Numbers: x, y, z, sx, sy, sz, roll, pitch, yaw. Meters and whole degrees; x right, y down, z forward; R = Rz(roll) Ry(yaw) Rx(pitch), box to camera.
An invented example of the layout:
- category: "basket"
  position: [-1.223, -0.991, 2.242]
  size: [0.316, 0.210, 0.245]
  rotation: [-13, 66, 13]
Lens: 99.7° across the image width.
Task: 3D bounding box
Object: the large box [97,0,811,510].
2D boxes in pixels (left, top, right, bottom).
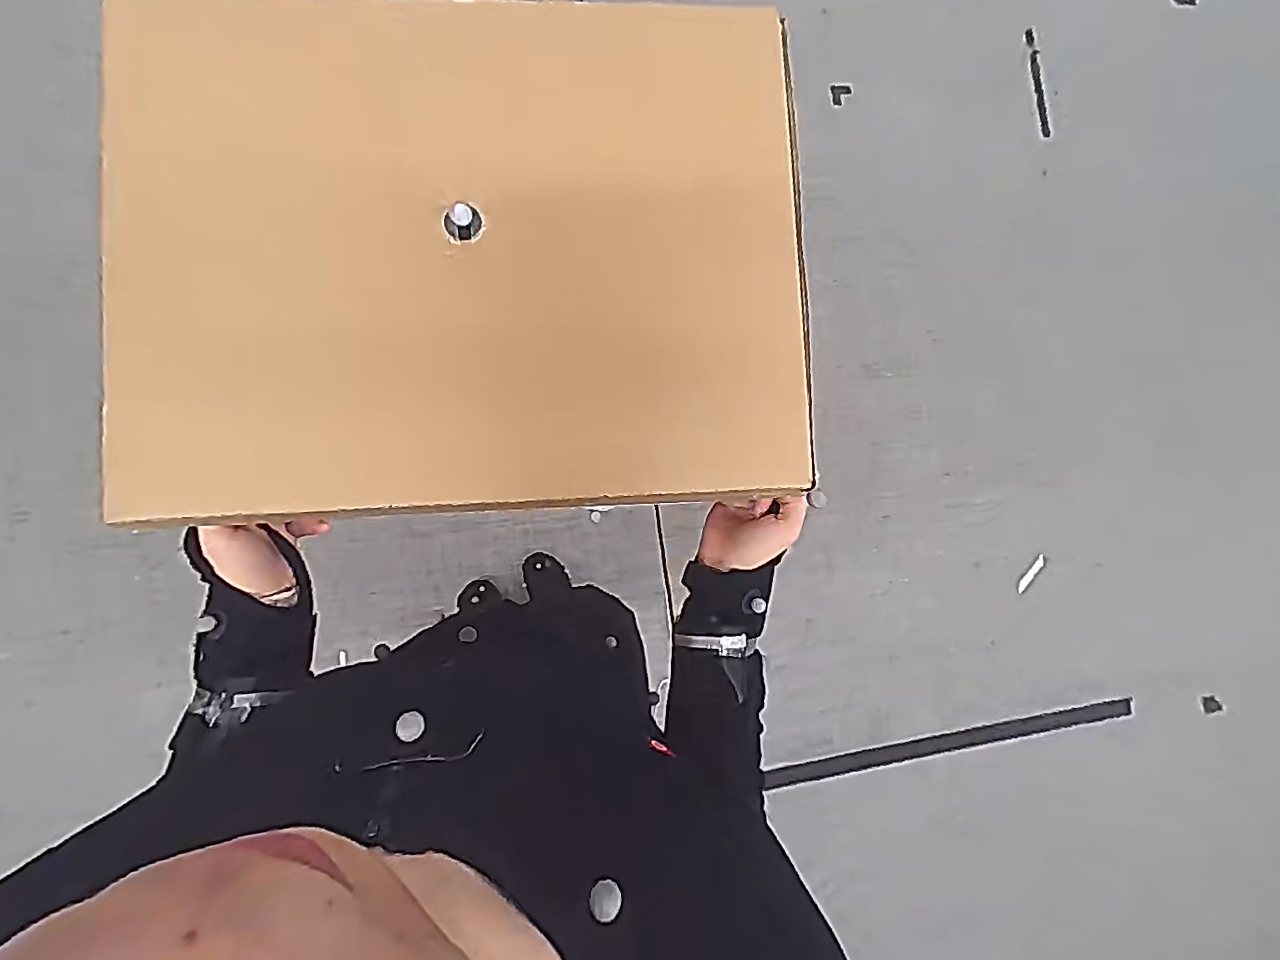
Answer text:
- category: "large box"
  position: [-0.115, -0.142, 0.459]
  size: [0.408, 0.320, 0.320]
  rotation: [-3, 89, -4]
